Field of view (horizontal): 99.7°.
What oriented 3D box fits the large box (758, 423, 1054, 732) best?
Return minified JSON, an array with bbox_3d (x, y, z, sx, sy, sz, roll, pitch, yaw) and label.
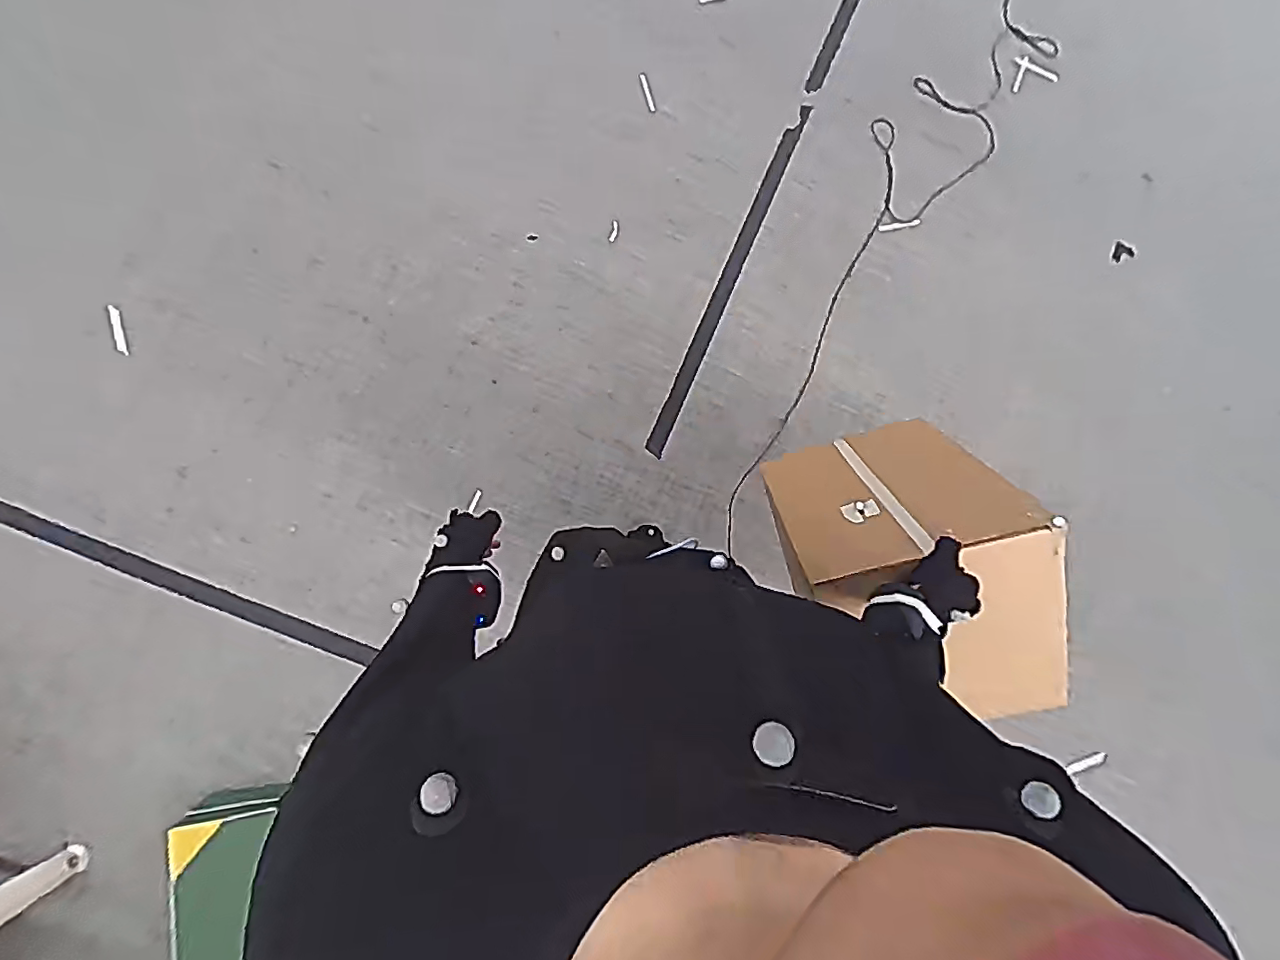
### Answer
[{"bbox_3d":[0.418,0.144,0.934,0.320,0.408,0.320,-16,115,9],"label":"large box"}]
